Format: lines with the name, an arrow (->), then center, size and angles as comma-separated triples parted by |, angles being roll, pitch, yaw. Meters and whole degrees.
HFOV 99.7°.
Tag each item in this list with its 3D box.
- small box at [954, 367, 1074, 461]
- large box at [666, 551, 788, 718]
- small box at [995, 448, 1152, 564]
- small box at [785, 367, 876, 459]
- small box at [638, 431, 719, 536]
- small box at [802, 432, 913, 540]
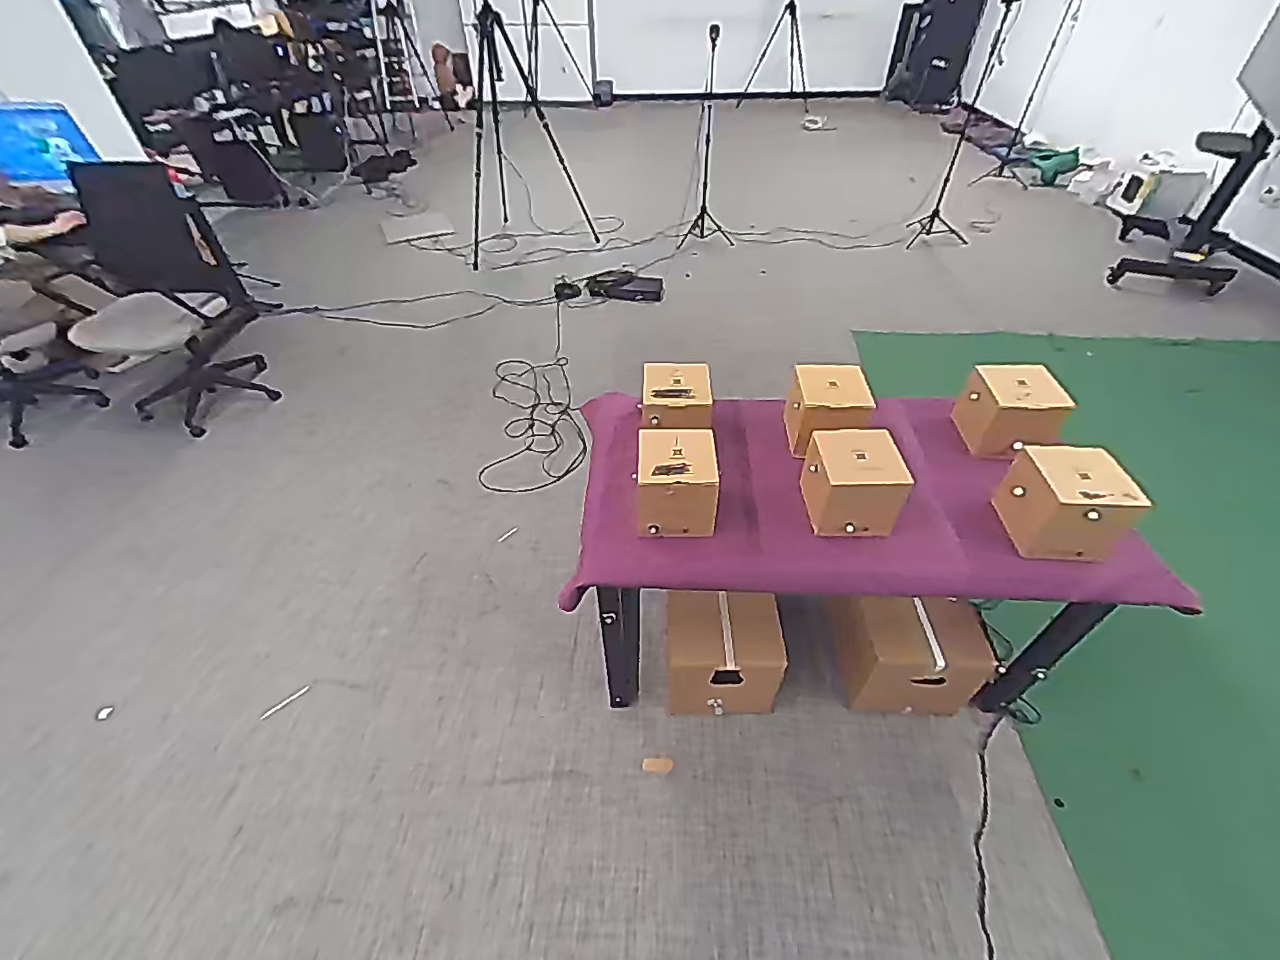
small box -> 0.922, -0.166, 1.356 | 0.168, 0.176, 0.179 | 1, 45, 6
large box -> 0.242, 0.473, 1.670 | 0.320, 0.320, 0.408 | 0, 43, 1
small box -> 0.887, 0.052, 1.132 | 0.168, 0.176, 0.179 | 1, 41, 5
small box -> 0.475, -0.169, 1.380 | 0.168, 0.176, 0.179 | 1, 45, 2
small box -> 0.082, 0.010, 1.199 | 0.168, 0.176, 0.179 | 0, 42, 1
small box -> 0.466, 0.011, 1.191 | 0.168, 0.176, 0.179 | -1, 43, 2
